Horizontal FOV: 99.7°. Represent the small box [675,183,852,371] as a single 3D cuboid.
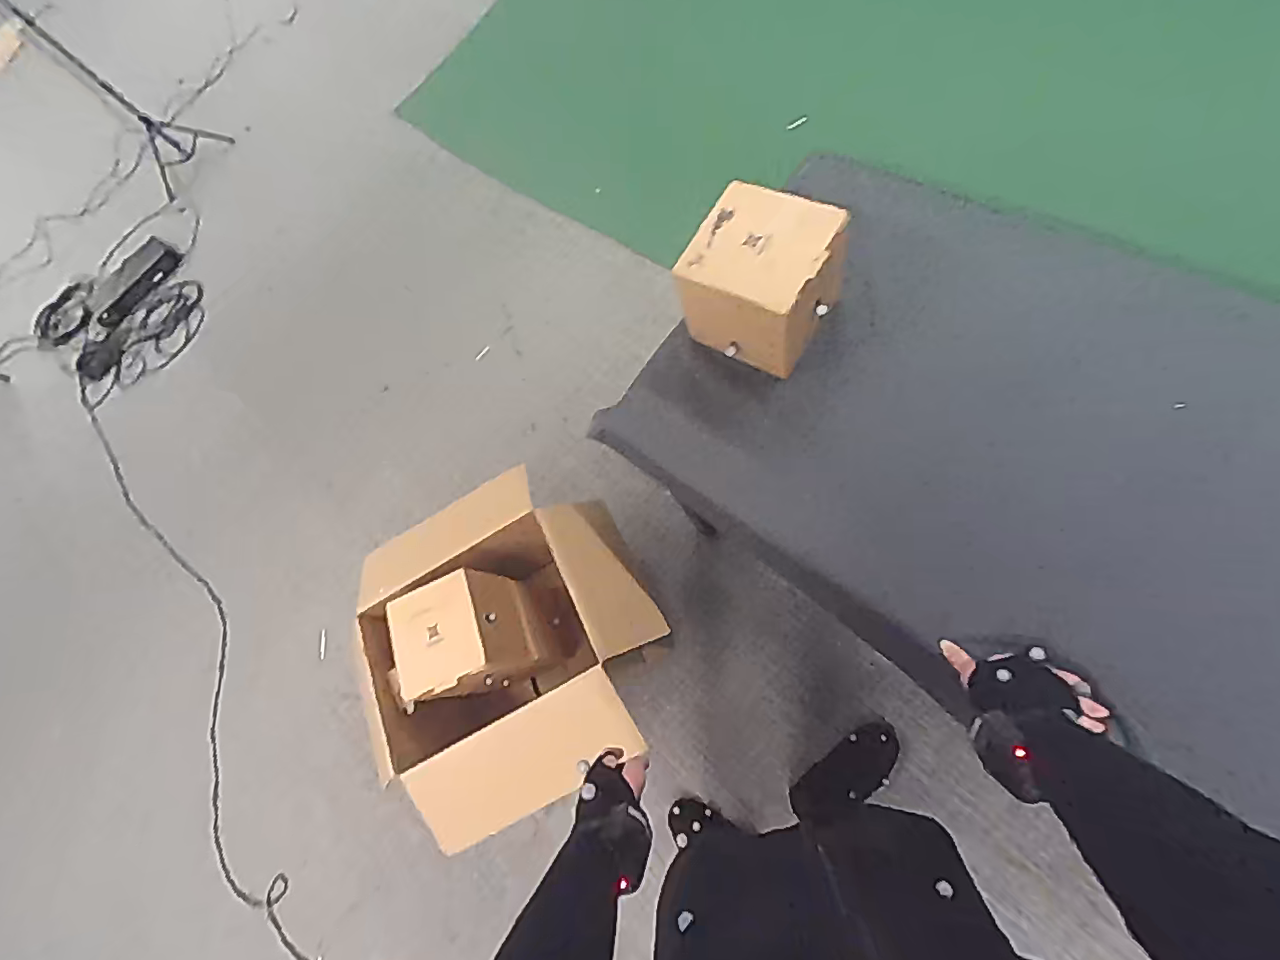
[{"bbox_3d":[0.179,-0.283,0.783,0.179,0.176,0.168,30,81,22],"label":"small box"}]
